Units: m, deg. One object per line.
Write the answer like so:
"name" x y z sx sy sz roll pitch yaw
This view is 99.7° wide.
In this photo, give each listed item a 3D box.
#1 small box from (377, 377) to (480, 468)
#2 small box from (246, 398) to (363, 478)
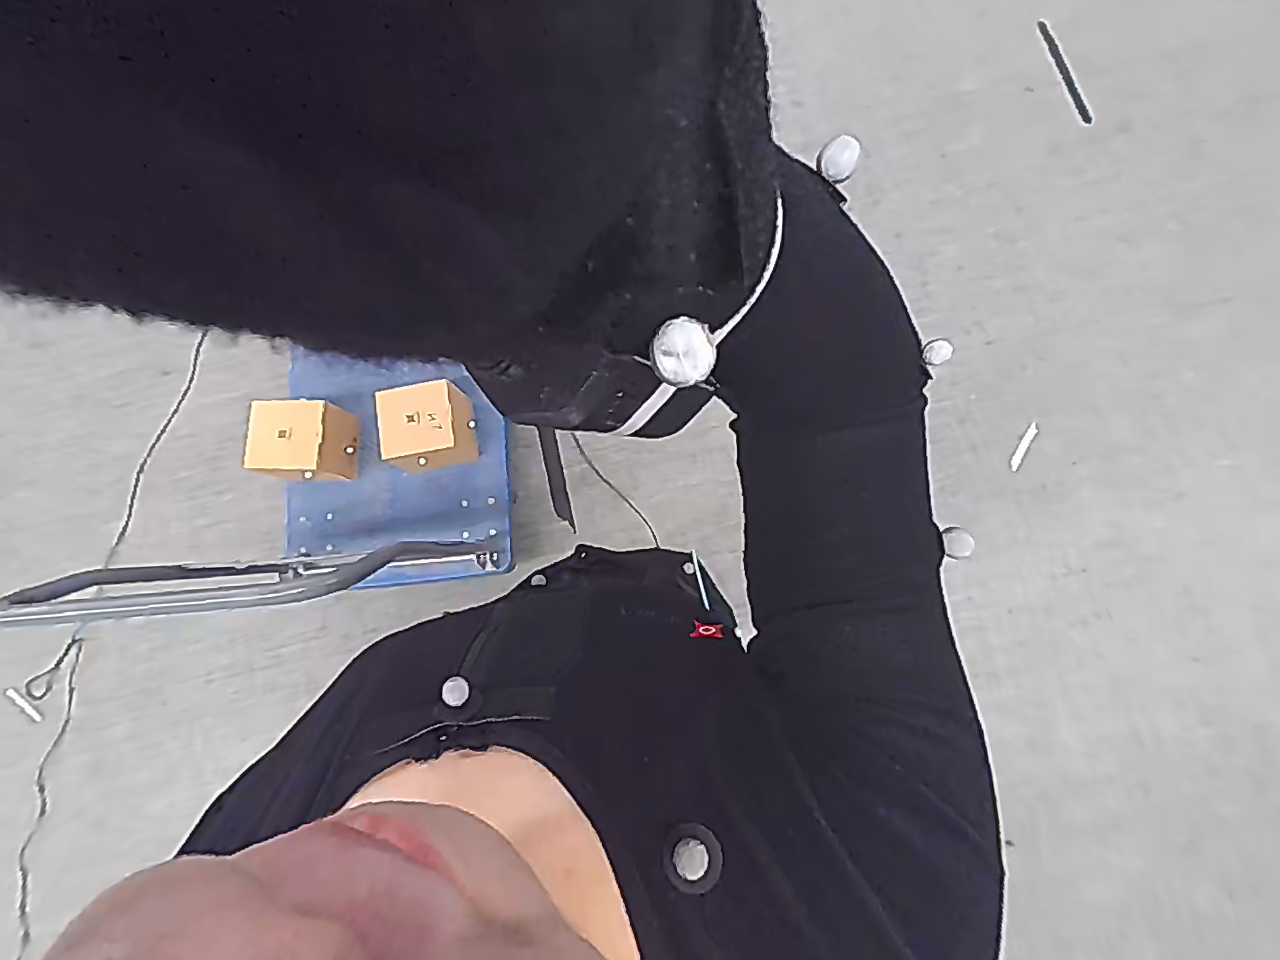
"small box" -0.513 -0.133 1.325 0.179 0.176 0.168 -10 81 1
"small box" -0.818 -0.098 1.333 0.179 0.176 0.168 0 80 1
